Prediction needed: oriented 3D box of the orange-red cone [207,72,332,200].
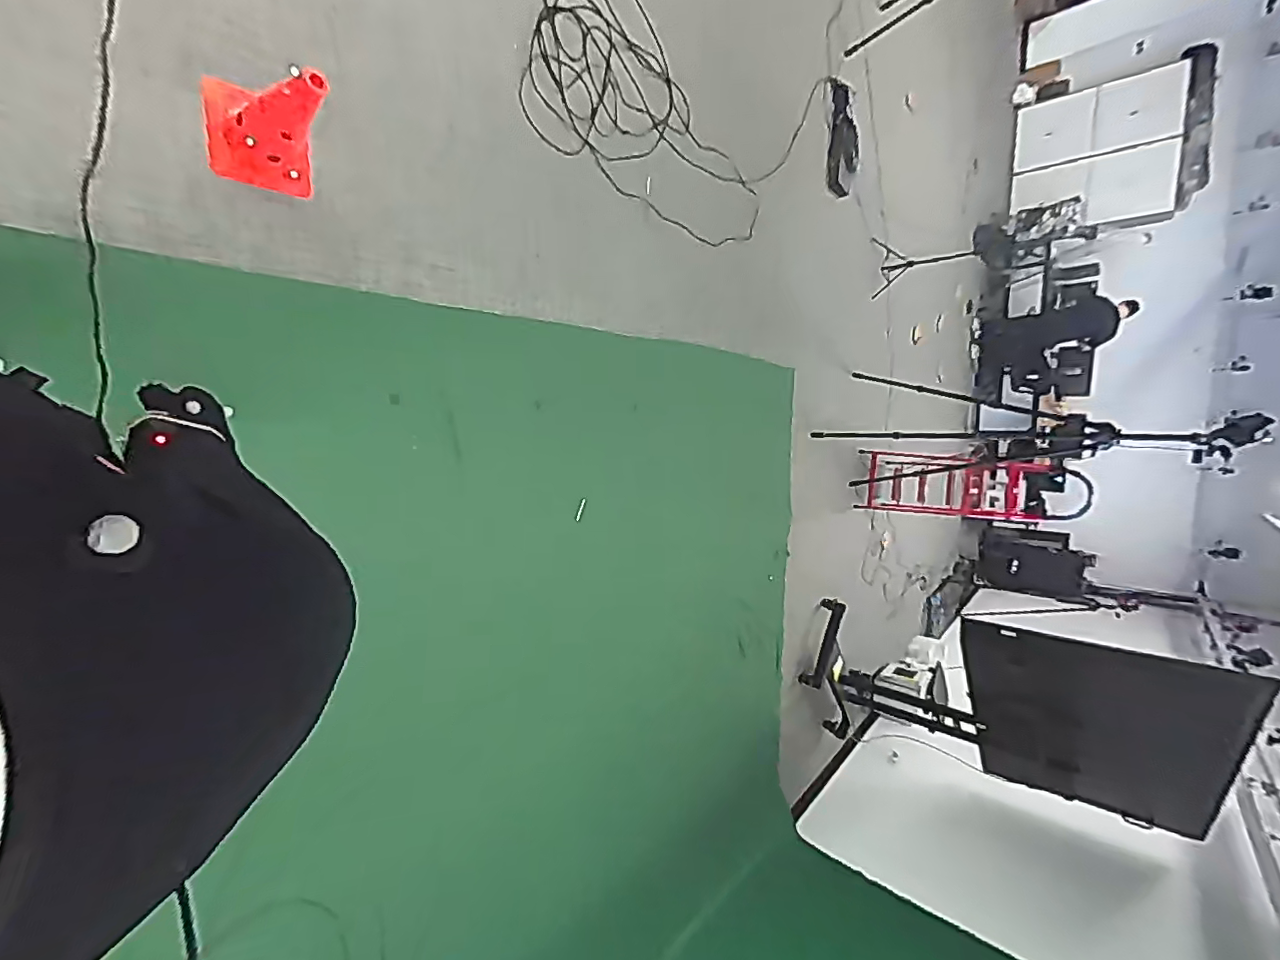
[{"bbox_3d":[-0.727,-0.752,1.118,0.198,0.360,0.199,-7,99,-49],"label":"orange-red cone"}]
